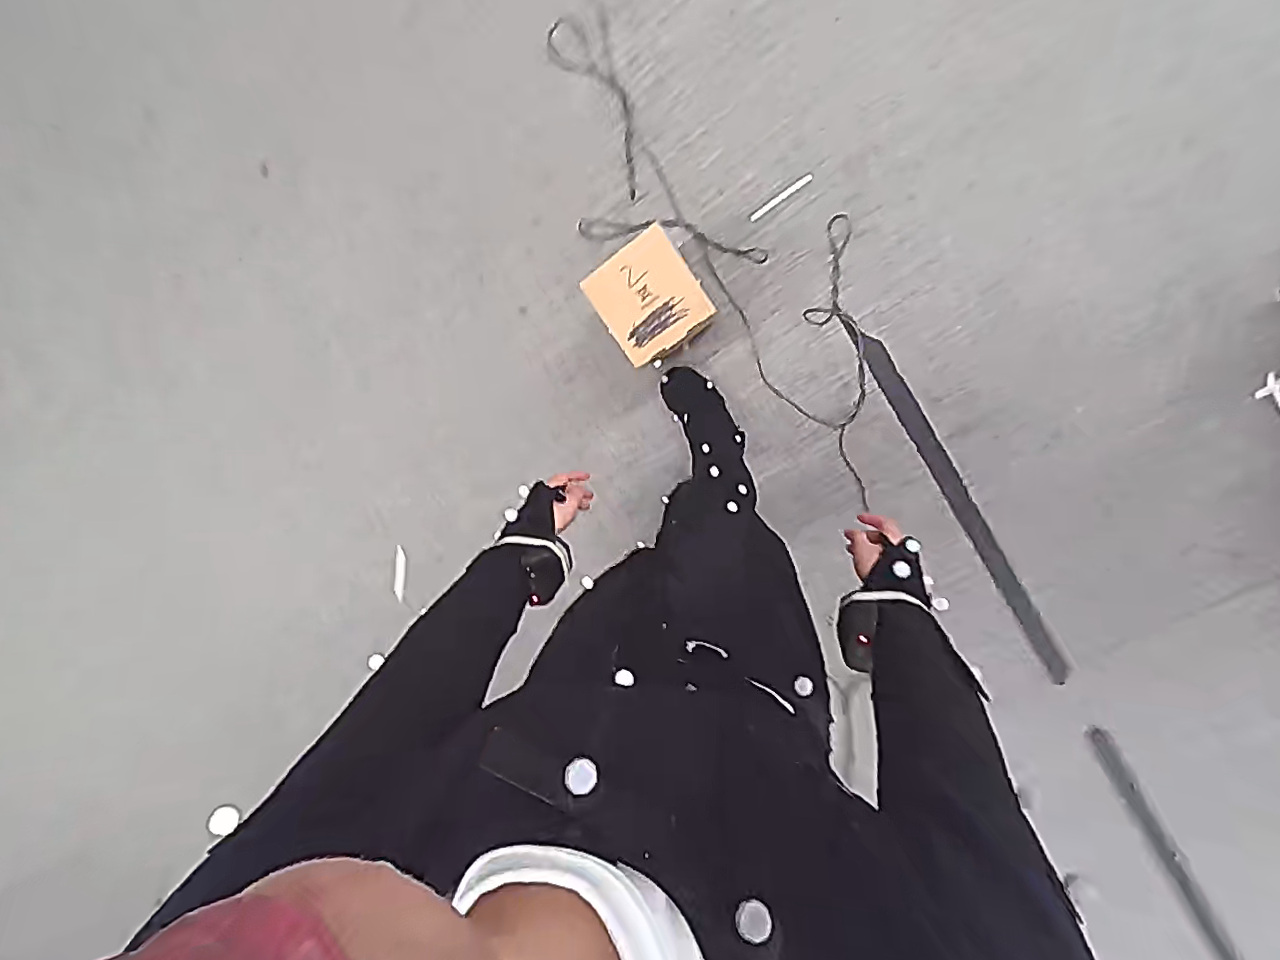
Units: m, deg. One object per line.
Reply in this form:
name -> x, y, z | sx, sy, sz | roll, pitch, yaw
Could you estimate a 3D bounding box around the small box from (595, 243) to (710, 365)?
small box -> 0.032, -0.361, 1.138 | 0.168, 0.176, 0.179 | -34, 98, 15
